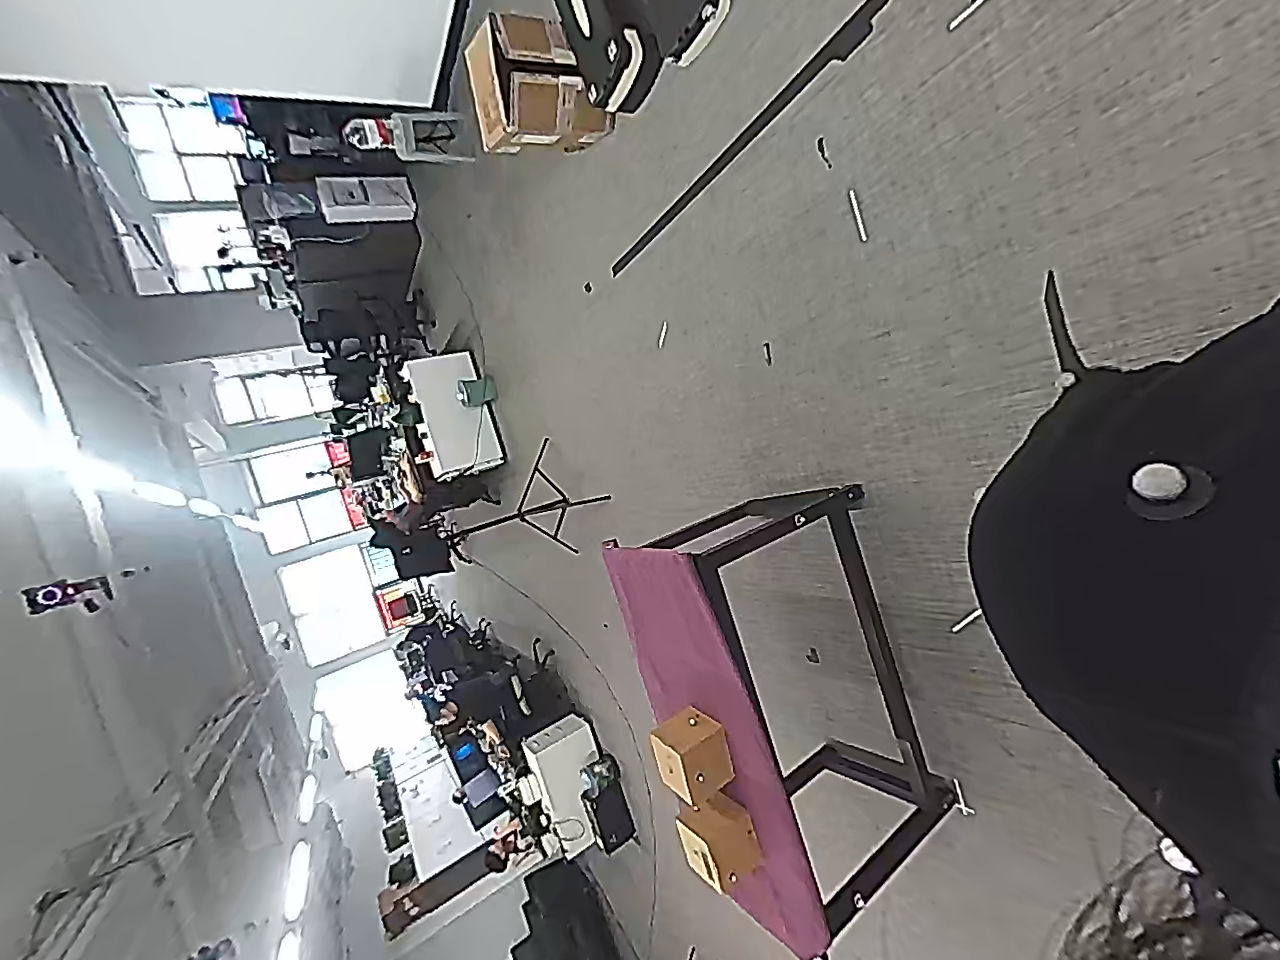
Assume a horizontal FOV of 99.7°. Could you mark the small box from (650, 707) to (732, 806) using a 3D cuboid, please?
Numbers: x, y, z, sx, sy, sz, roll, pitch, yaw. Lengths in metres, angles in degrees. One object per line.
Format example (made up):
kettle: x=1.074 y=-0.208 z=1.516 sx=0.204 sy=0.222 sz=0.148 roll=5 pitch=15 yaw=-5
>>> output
small box: x=0.159 y=0.831 z=1.643 sx=0.168 sy=0.176 sz=0.179 roll=1 pitch=107 yaw=59
